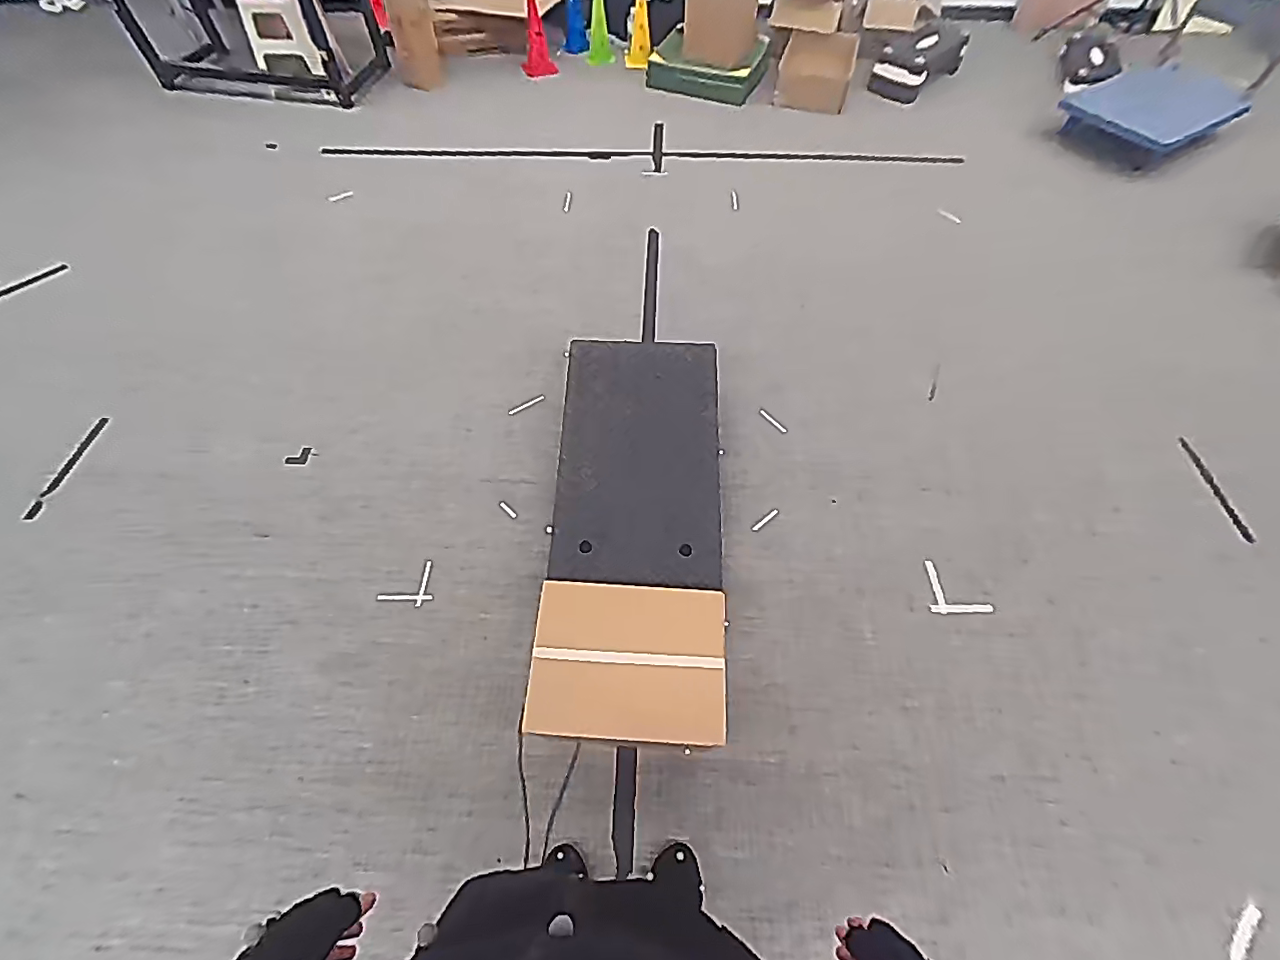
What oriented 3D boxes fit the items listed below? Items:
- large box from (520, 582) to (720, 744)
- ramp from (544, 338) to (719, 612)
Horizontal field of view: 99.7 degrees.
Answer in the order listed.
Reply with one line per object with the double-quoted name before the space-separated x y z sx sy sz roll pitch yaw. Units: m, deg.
"large box" -0.033 0.441 1.269 0.408 0.320 0.320 4 62 1
"ramp" -0.012 -0.004 1.632 0.509 0.206 0.991 2 58 -2
